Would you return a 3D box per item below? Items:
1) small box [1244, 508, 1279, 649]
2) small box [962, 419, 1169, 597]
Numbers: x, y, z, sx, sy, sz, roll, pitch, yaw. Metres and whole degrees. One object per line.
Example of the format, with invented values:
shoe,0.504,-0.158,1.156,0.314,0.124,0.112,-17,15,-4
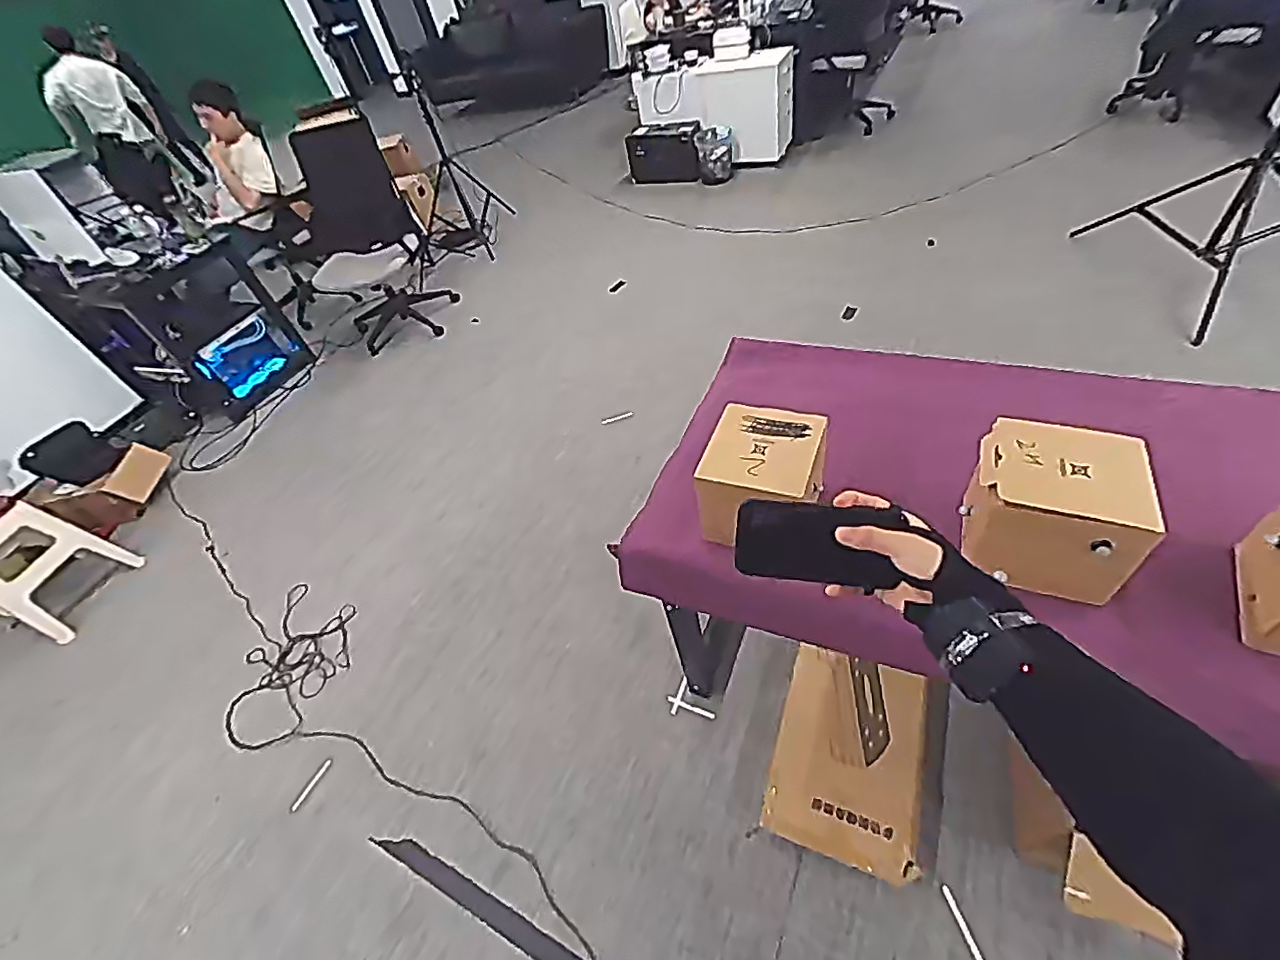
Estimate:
small box,0.851,0.115,0.618,0.179,0.176,0.168,18,55,27
small box,0.573,0.041,0.754,0.179,0.176,0.168,11,50,23
